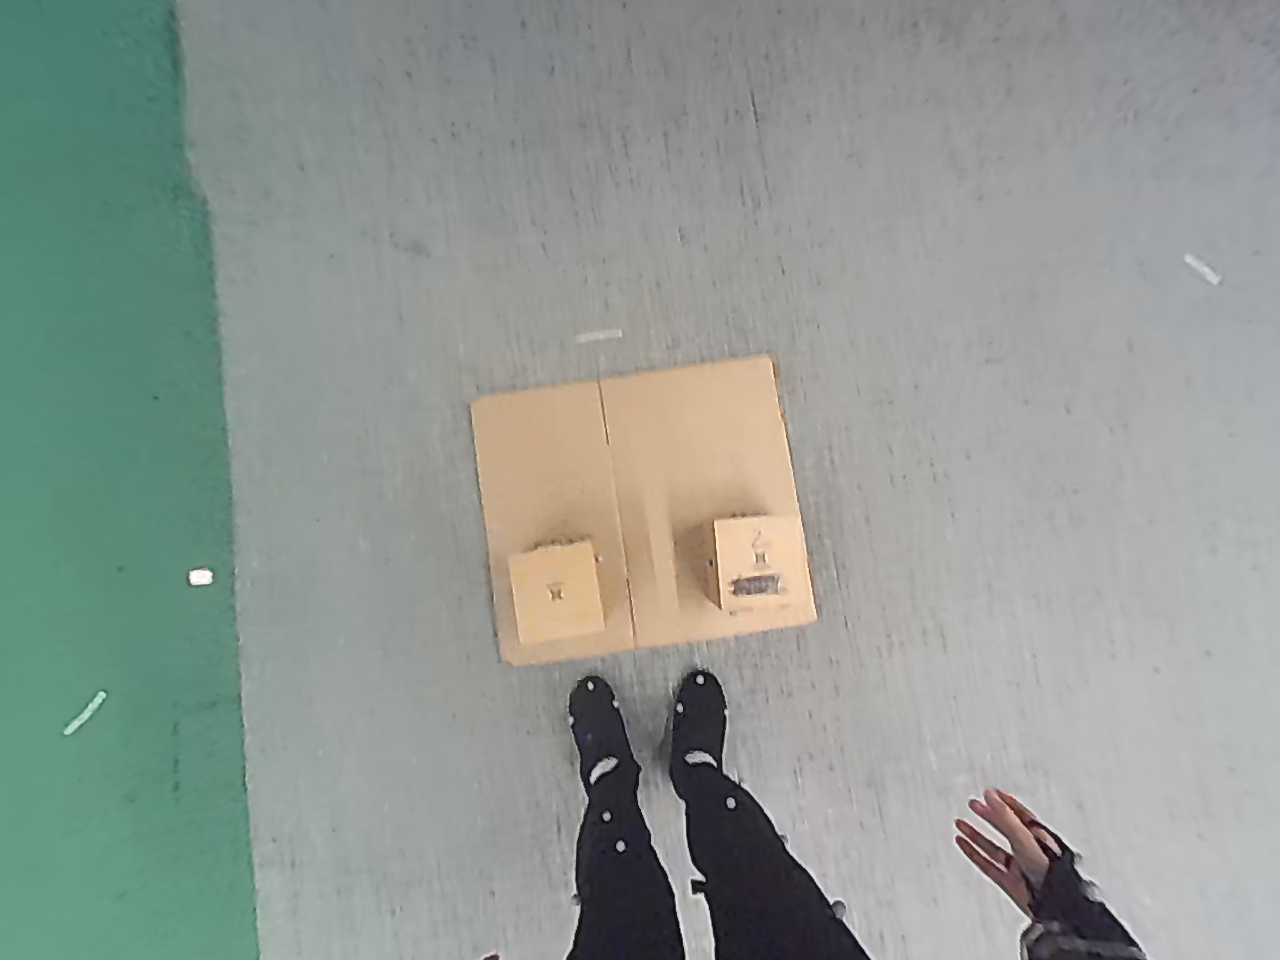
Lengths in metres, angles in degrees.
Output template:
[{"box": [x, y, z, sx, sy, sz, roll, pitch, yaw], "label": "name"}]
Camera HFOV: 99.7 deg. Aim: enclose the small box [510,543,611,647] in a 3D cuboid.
[{"box": [-0.155, 0.226, 1.105, 0.168, 0.176, 0.179, -10, 83, -1], "label": "small box"}]
